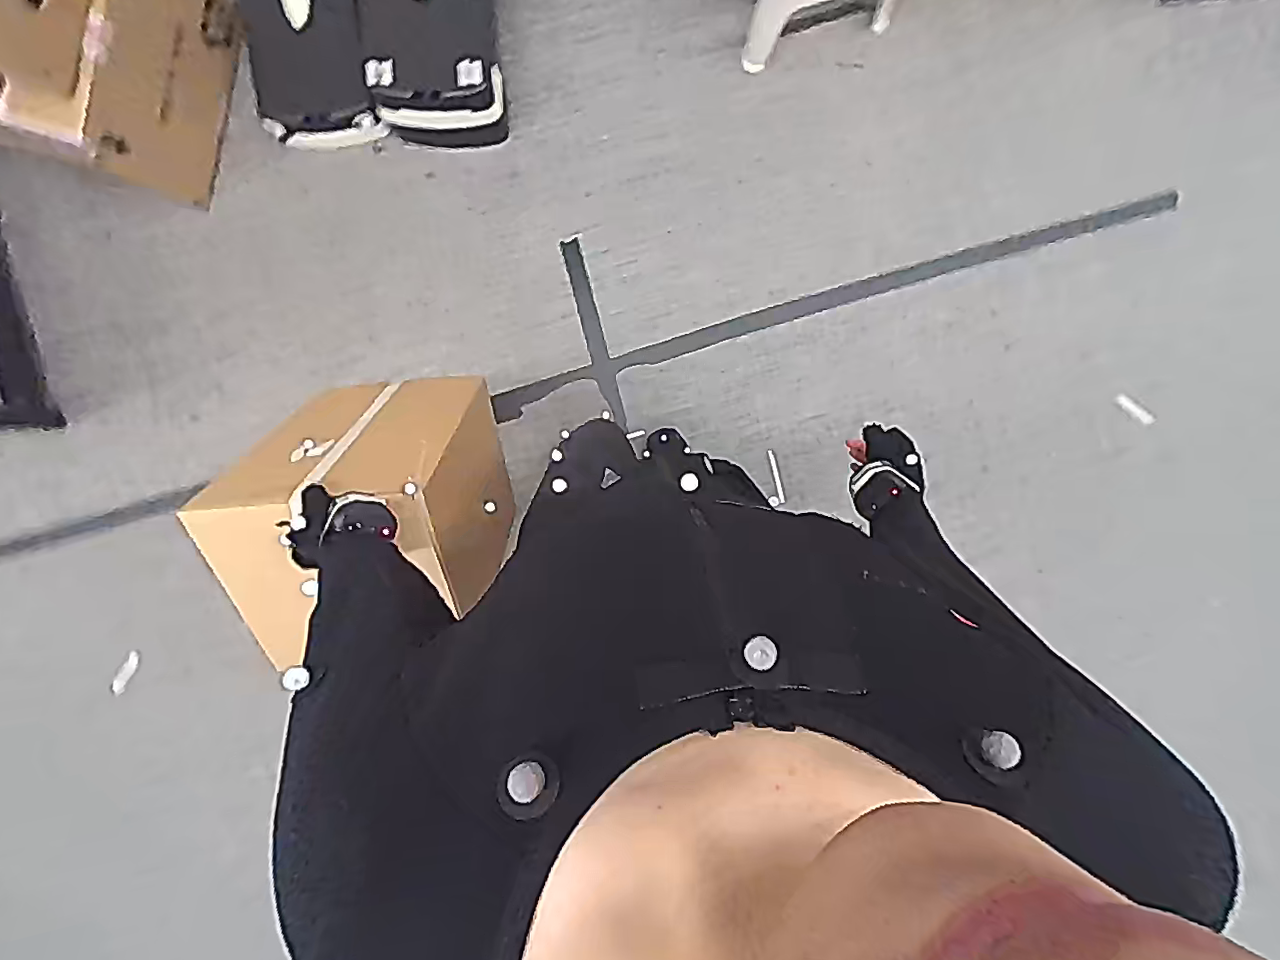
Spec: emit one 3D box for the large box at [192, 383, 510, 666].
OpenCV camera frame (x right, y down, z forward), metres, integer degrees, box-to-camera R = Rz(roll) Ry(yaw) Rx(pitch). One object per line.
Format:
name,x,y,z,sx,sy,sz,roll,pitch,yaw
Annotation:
large box,-0.431,0.055,0.944,0.320,0.408,0.320,-5,122,1
